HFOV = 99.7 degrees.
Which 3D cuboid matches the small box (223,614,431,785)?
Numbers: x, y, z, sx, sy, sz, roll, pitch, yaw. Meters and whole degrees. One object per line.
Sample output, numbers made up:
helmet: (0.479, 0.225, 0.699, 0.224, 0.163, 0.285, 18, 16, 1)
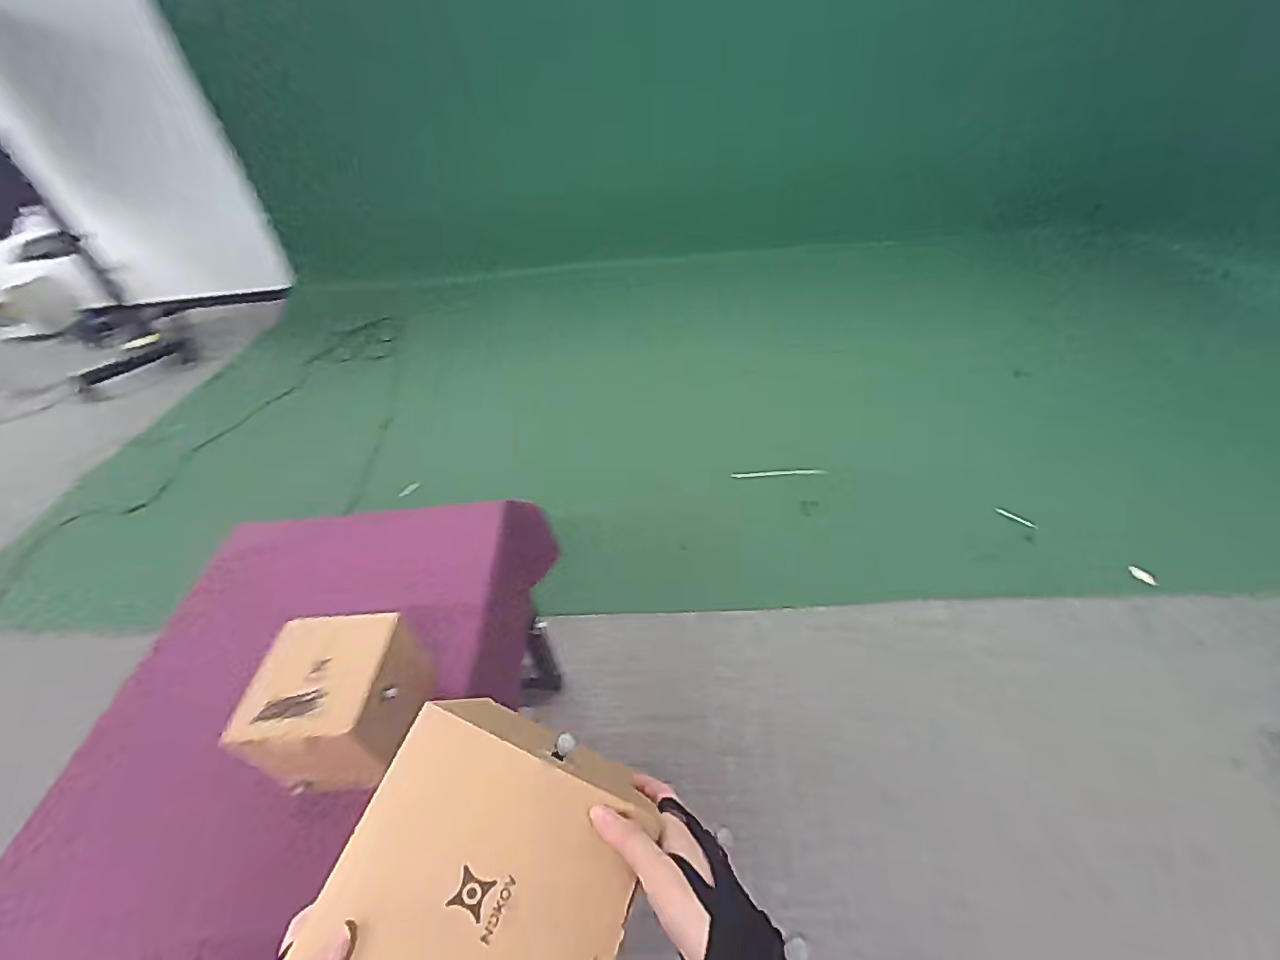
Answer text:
small box: (-0.421, 0.315, 0.767, 0.168, 0.176, 0.179, -5, 41, 4)
